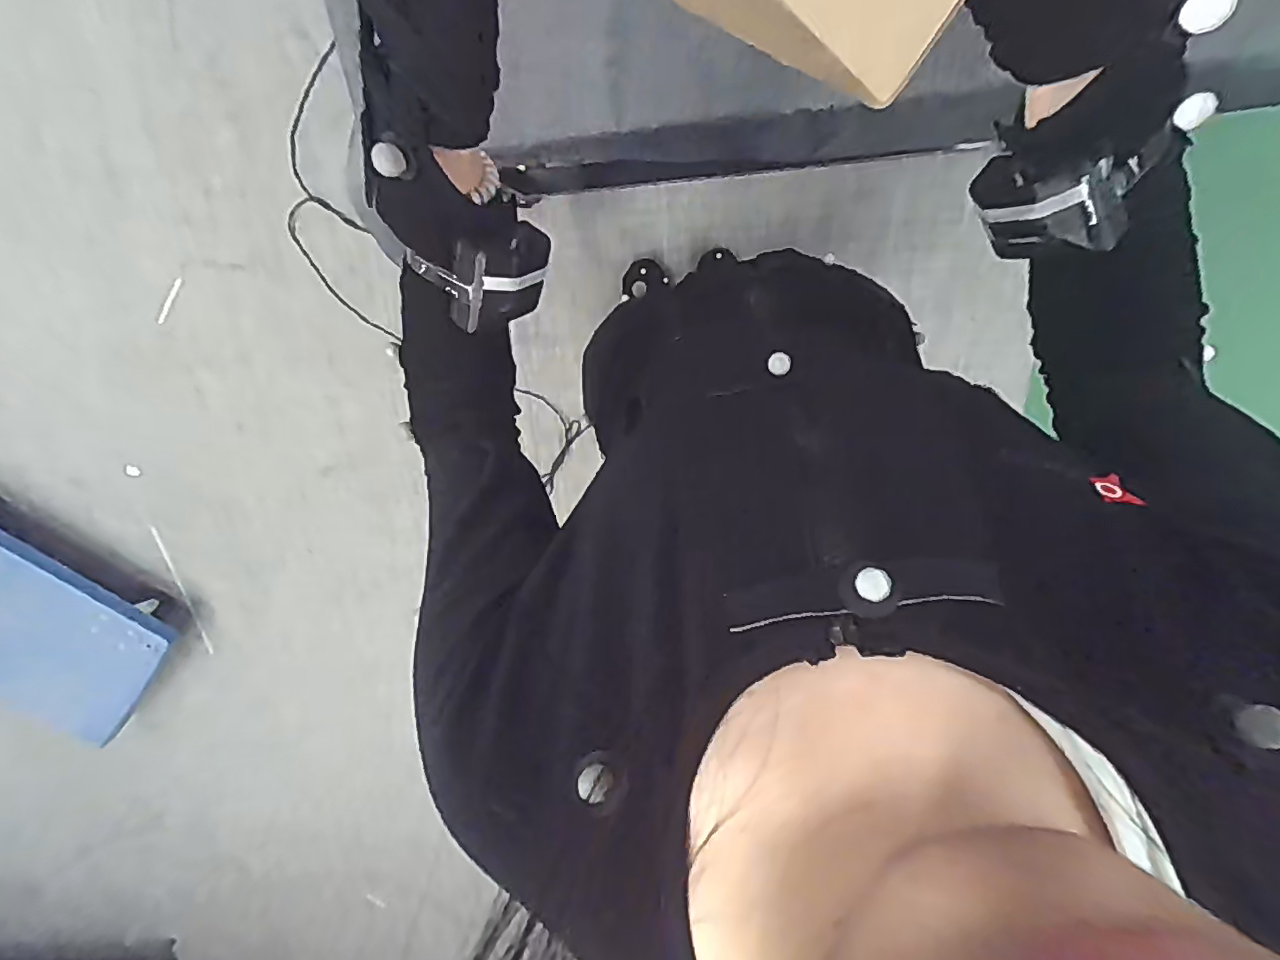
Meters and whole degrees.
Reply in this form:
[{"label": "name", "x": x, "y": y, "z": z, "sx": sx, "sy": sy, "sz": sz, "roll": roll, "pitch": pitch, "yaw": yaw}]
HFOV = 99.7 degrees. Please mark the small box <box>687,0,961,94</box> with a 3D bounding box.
[{"label": "small box", "x": 0.041, "y": -0.267, "z": 0.155, "sx": 0.176, "sy": 0.168, "sz": 0.179, "roll": 0, "pitch": 136, "yaw": -43}]
